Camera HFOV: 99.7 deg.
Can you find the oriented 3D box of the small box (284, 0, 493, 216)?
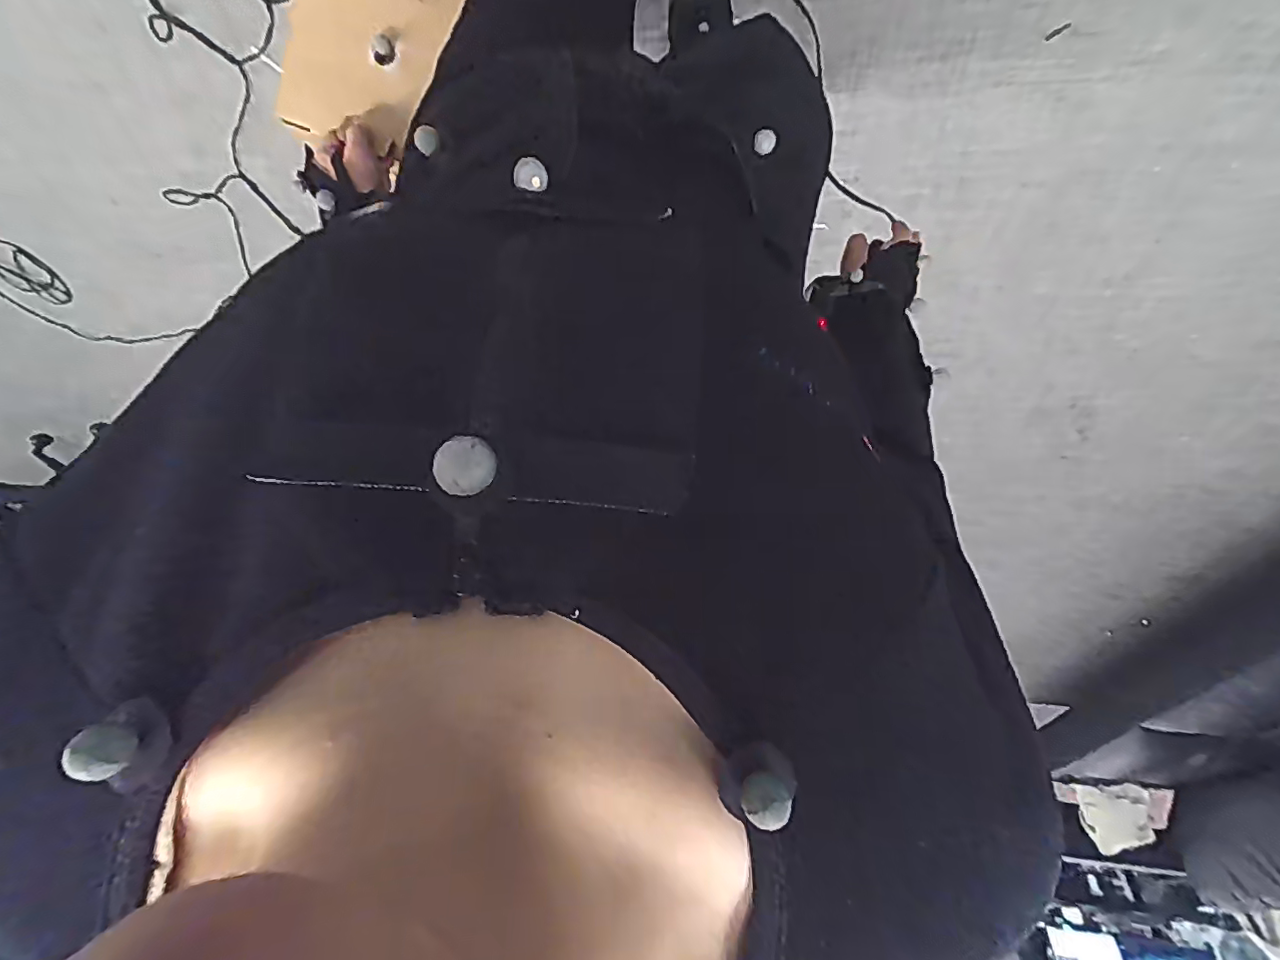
[{"bbox_3d":[-0.264,-0.421,0.599,0.168,0.179,0.176,13,104,-16],"label":"small box"}]
